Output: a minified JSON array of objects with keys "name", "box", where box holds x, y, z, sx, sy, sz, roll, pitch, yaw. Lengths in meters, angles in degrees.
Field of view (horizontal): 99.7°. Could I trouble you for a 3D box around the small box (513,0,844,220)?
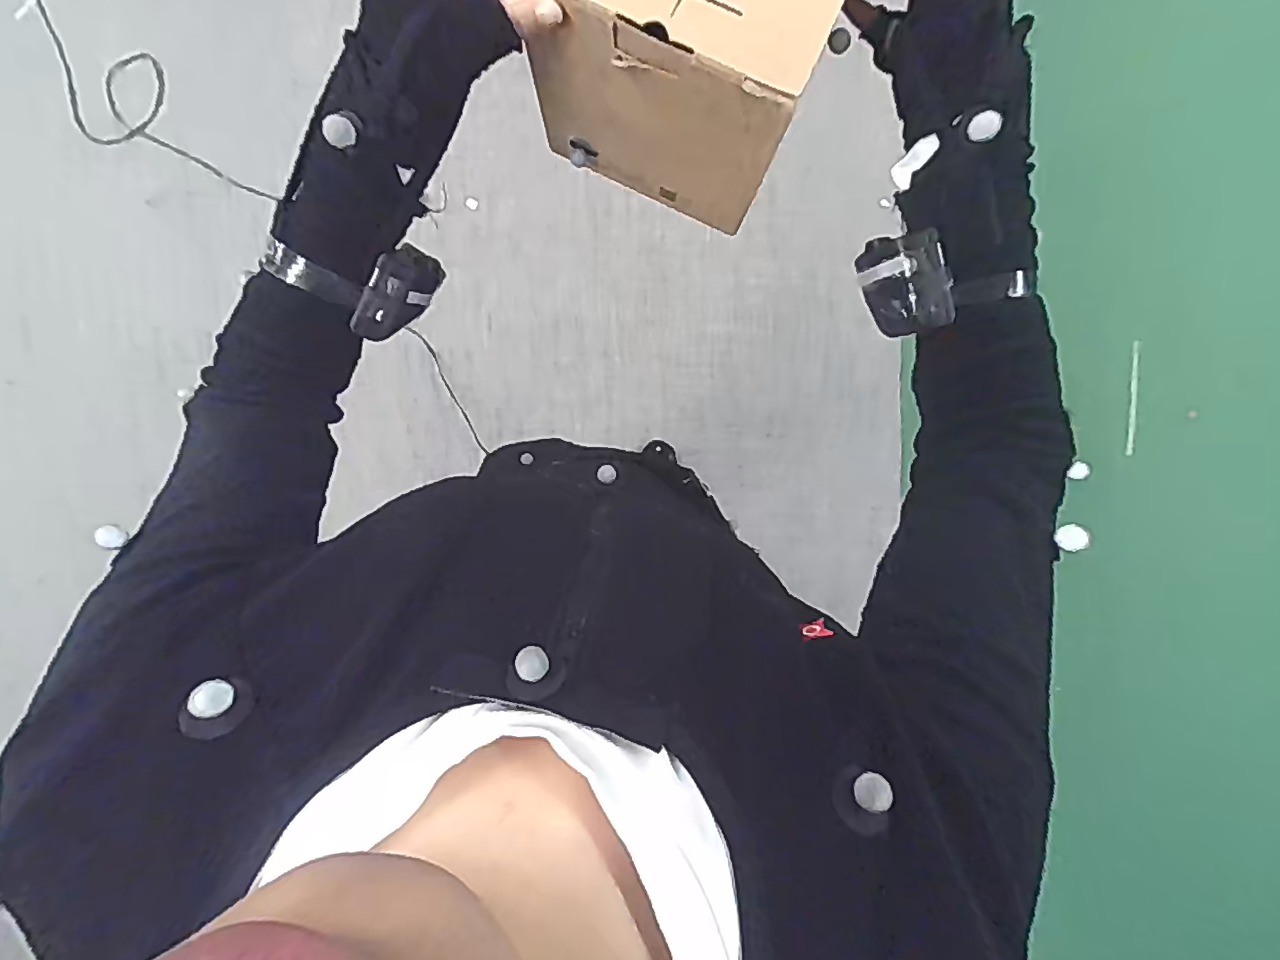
[{"name":"small box","box":[0.039,-0.307,0.349,0.168,0.176,0.179,24,91,-2]}]
